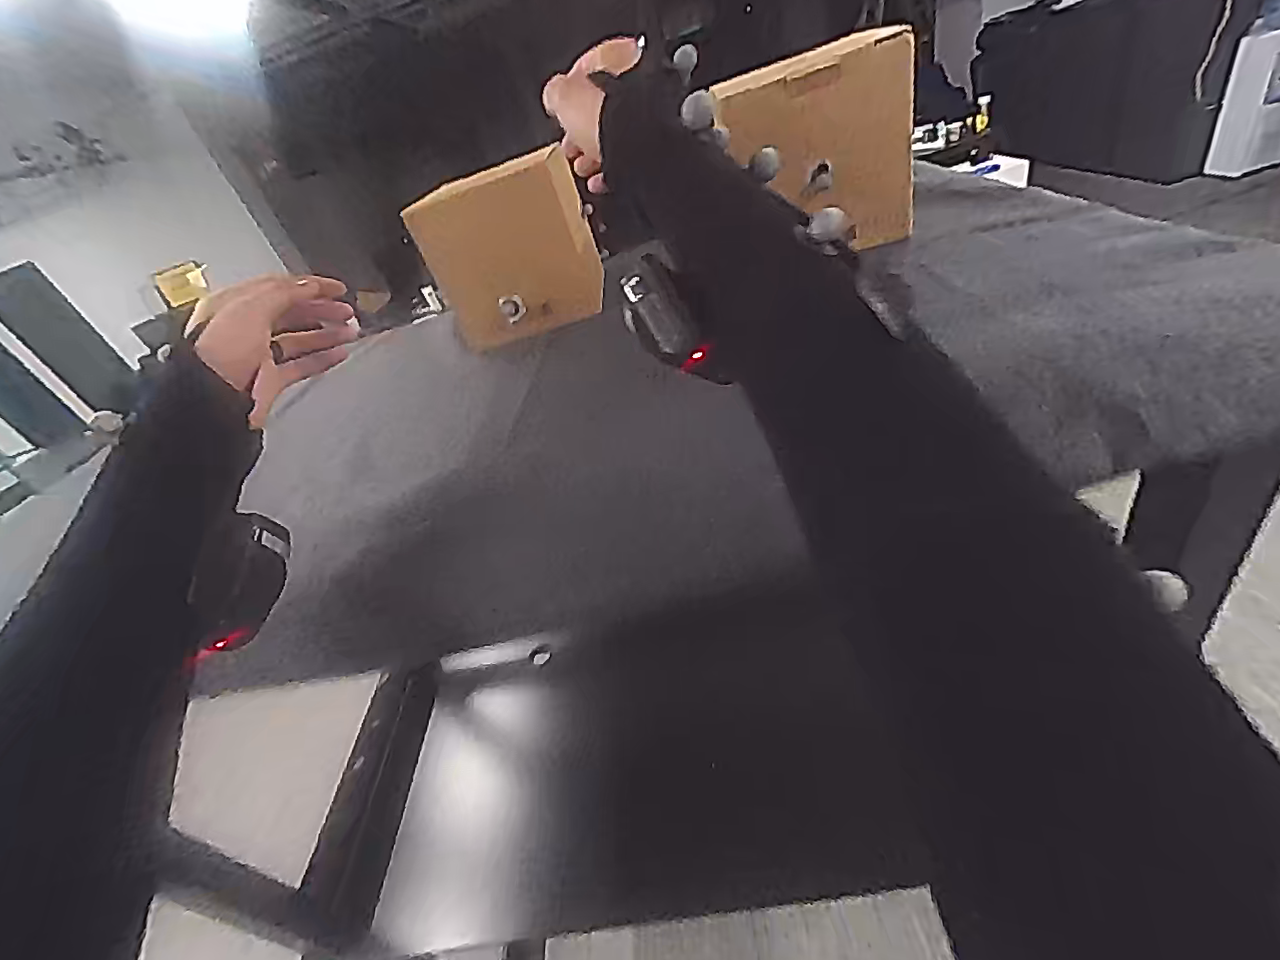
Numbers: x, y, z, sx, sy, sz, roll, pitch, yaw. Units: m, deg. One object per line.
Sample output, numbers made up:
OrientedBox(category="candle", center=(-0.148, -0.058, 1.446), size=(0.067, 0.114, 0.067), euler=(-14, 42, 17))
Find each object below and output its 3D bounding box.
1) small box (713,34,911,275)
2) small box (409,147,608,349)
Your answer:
OrientedBox(category="small box", center=(0.178, -0.337, 0.575), size=(0.168, 0.176, 0.179), euler=(-11, 38, 13))
OrientedBox(category="small box", center=(-0.144, -0.283, 0.664), size=(0.168, 0.176, 0.179), euler=(-15, 36, 9))
